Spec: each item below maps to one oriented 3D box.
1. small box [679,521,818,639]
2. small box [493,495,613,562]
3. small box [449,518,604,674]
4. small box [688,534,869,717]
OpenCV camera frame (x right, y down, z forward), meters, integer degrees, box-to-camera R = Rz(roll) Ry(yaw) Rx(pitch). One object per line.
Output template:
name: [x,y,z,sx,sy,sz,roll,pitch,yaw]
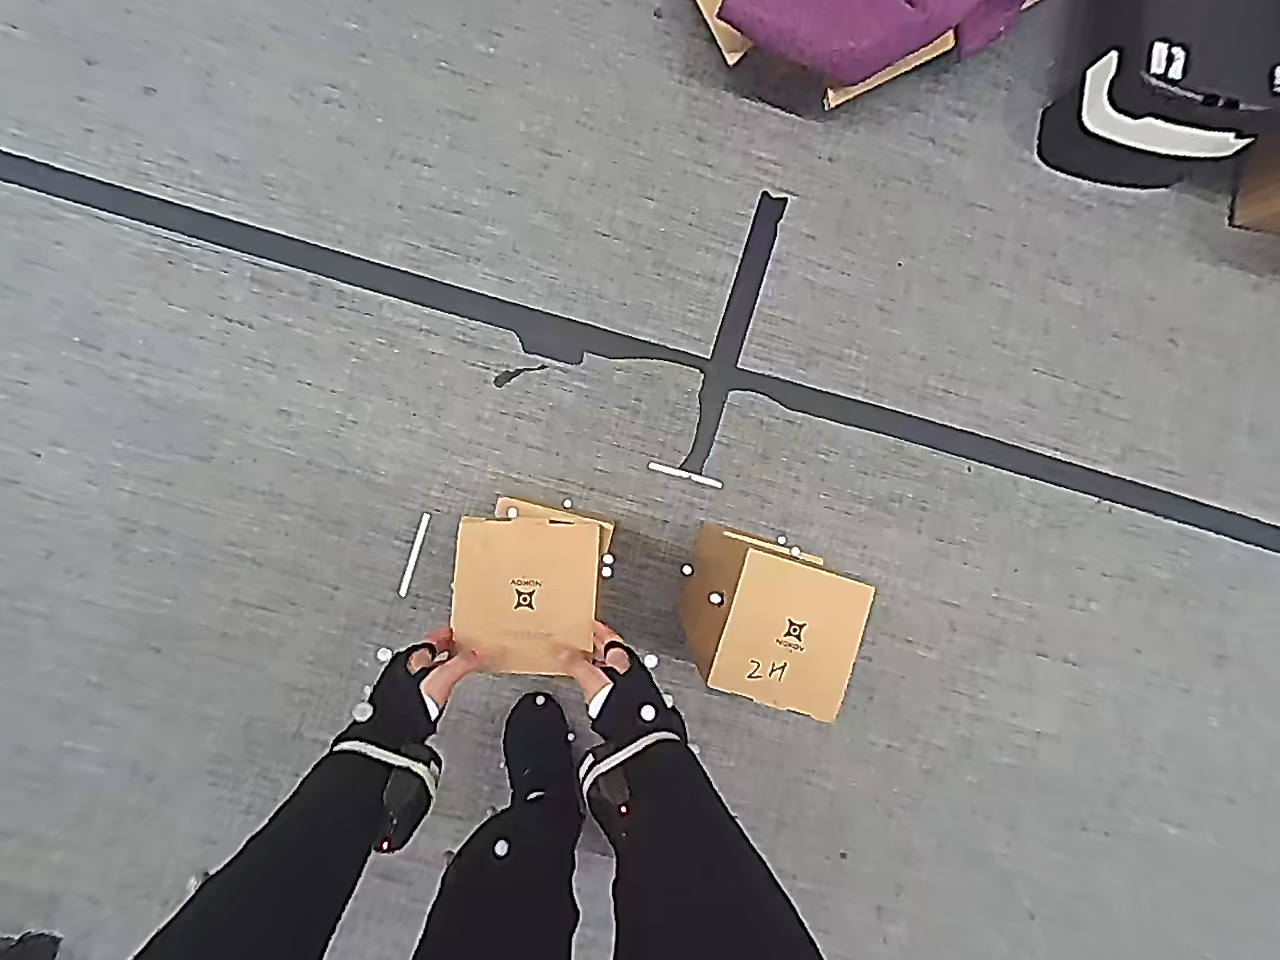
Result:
small box: [0.167,0.176,0.896,0.168,0.176,0.179,16,90,-3]
small box: [-0.148,0.124,0.875,0.179,0.176,0.168,14,89,-4]
small box: [-0.134,0.144,0.701,0.168,0.176,0.179,1,83,-1]
small box: [0.172,0.181,0.730,0.168,0.176,0.179,18,90,-3]
